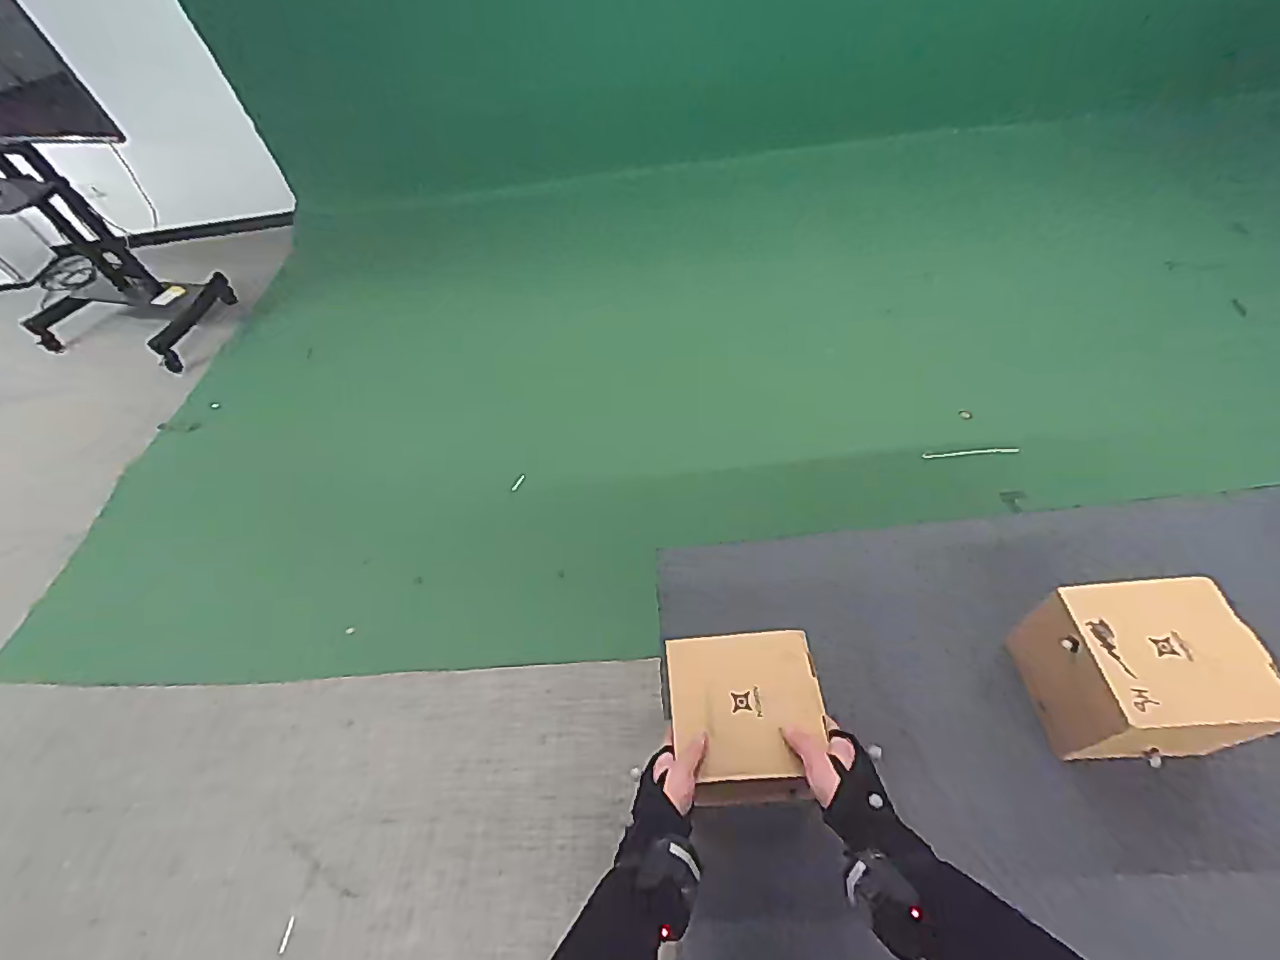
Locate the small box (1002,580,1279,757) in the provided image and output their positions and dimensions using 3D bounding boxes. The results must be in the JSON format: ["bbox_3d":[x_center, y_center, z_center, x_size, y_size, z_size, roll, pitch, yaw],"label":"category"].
[{"bbox_3d":[0.610,0.241,0.681,0.179,0.176,0.168,-4,51,2],"label":"small box"}]

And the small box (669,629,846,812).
[{"bbox_3d":[0.132,0.304,0.677,0.179,0.176,0.168,-6,50,2],"label":"small box"}]
